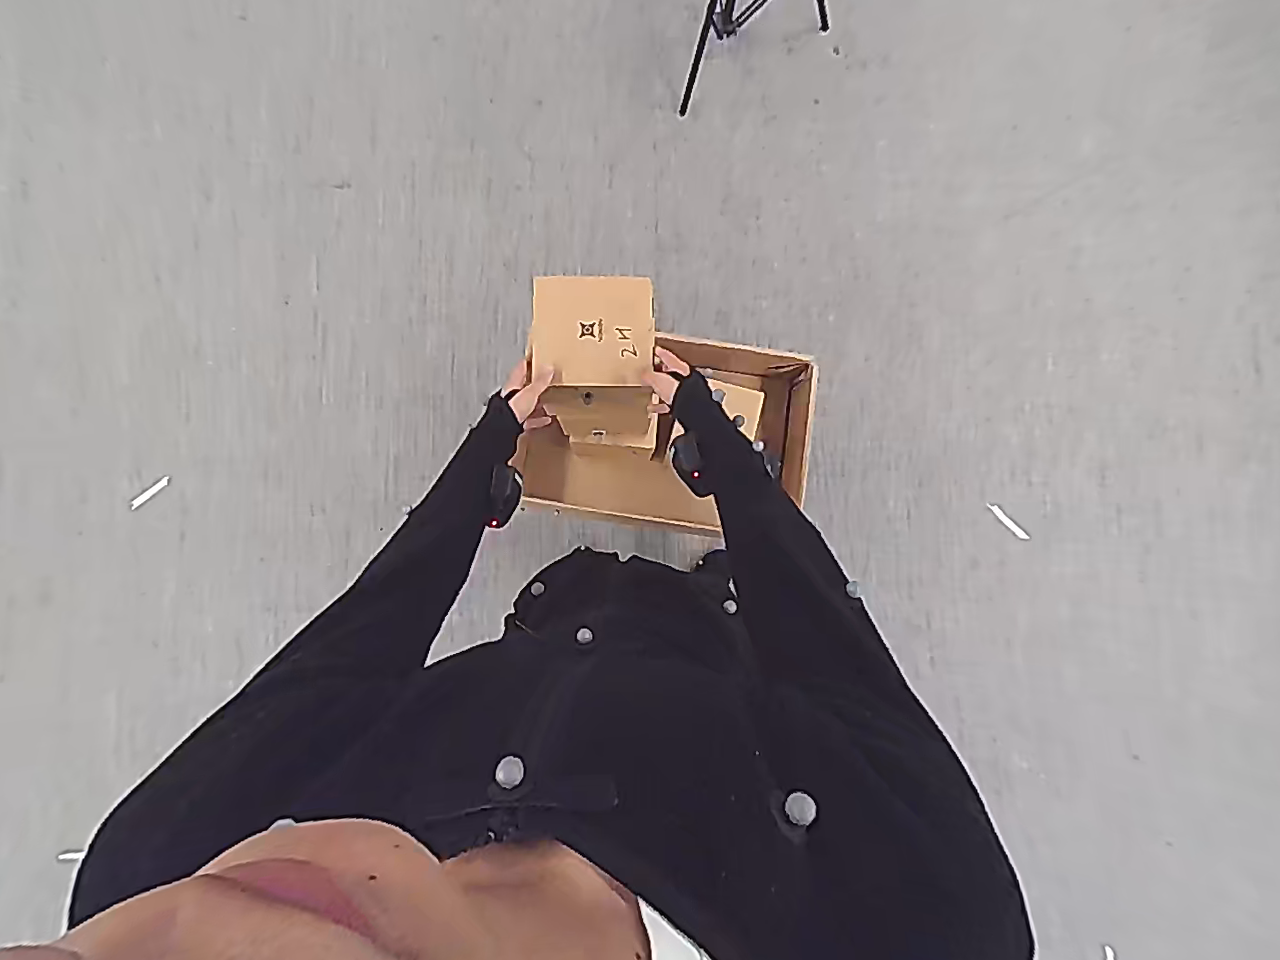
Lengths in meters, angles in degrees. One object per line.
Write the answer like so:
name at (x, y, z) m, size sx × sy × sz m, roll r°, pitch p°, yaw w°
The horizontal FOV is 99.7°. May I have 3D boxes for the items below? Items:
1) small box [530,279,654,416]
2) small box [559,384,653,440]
small box at (-0.069, -0.199, 0.850) m, size 0.179 × 0.176 × 0.168 m, roll 0°, pitch 84°, yaw -2°
small box at (-0.063, -0.179, 1.012) m, size 0.168 × 0.176 × 0.179 m, roll 0°, pitch 83°, yaw -2°
